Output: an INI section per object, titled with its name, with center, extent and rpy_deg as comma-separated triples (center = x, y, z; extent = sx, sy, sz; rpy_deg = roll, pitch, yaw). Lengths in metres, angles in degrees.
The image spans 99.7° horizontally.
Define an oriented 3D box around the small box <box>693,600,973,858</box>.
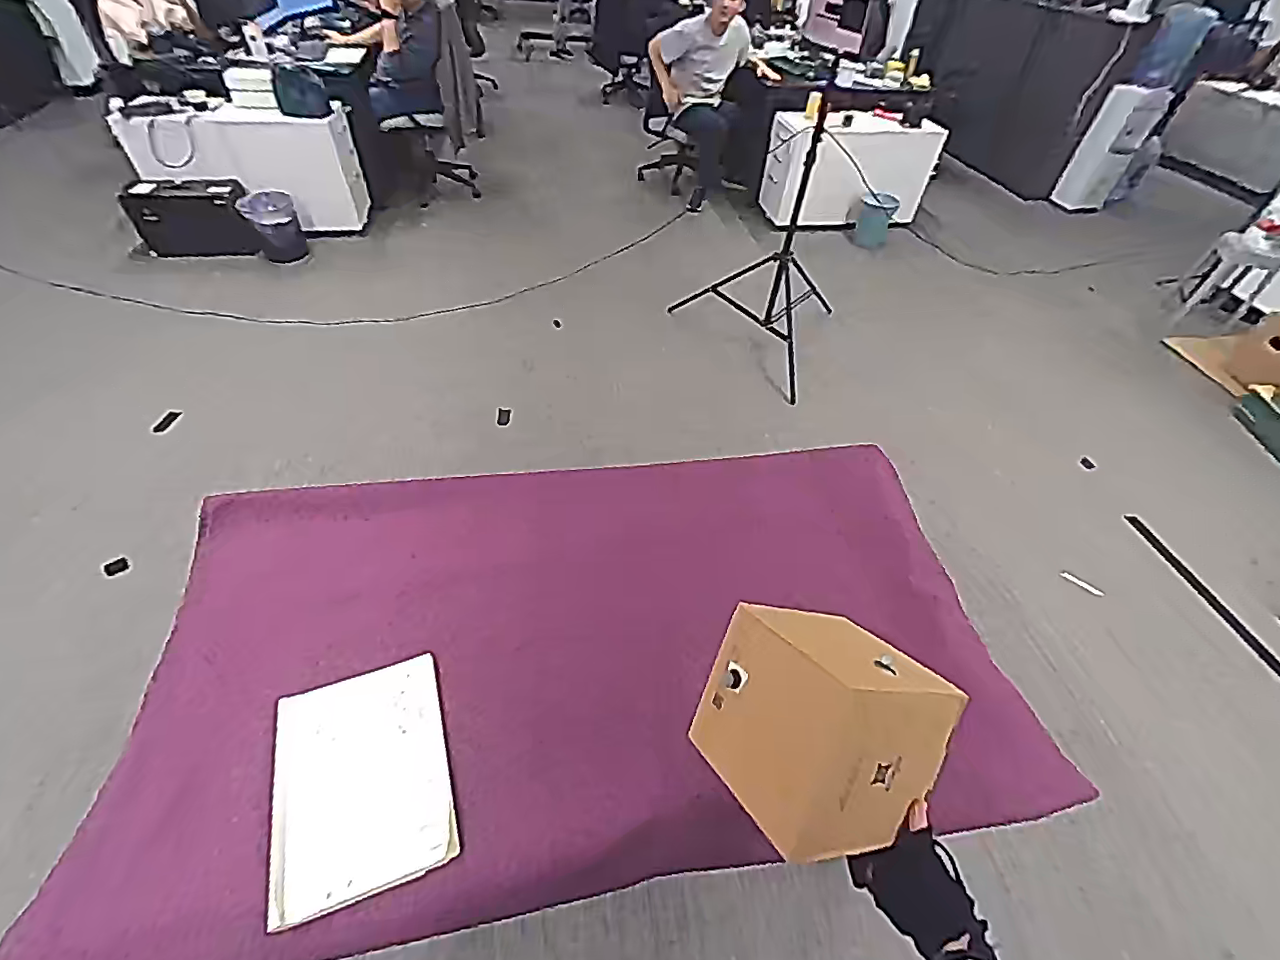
[small box]
center = 0.185, 0.236, 0.550
extent = 0.179, 0.168, 0.176
rpy_deg = 14, 6, -29
